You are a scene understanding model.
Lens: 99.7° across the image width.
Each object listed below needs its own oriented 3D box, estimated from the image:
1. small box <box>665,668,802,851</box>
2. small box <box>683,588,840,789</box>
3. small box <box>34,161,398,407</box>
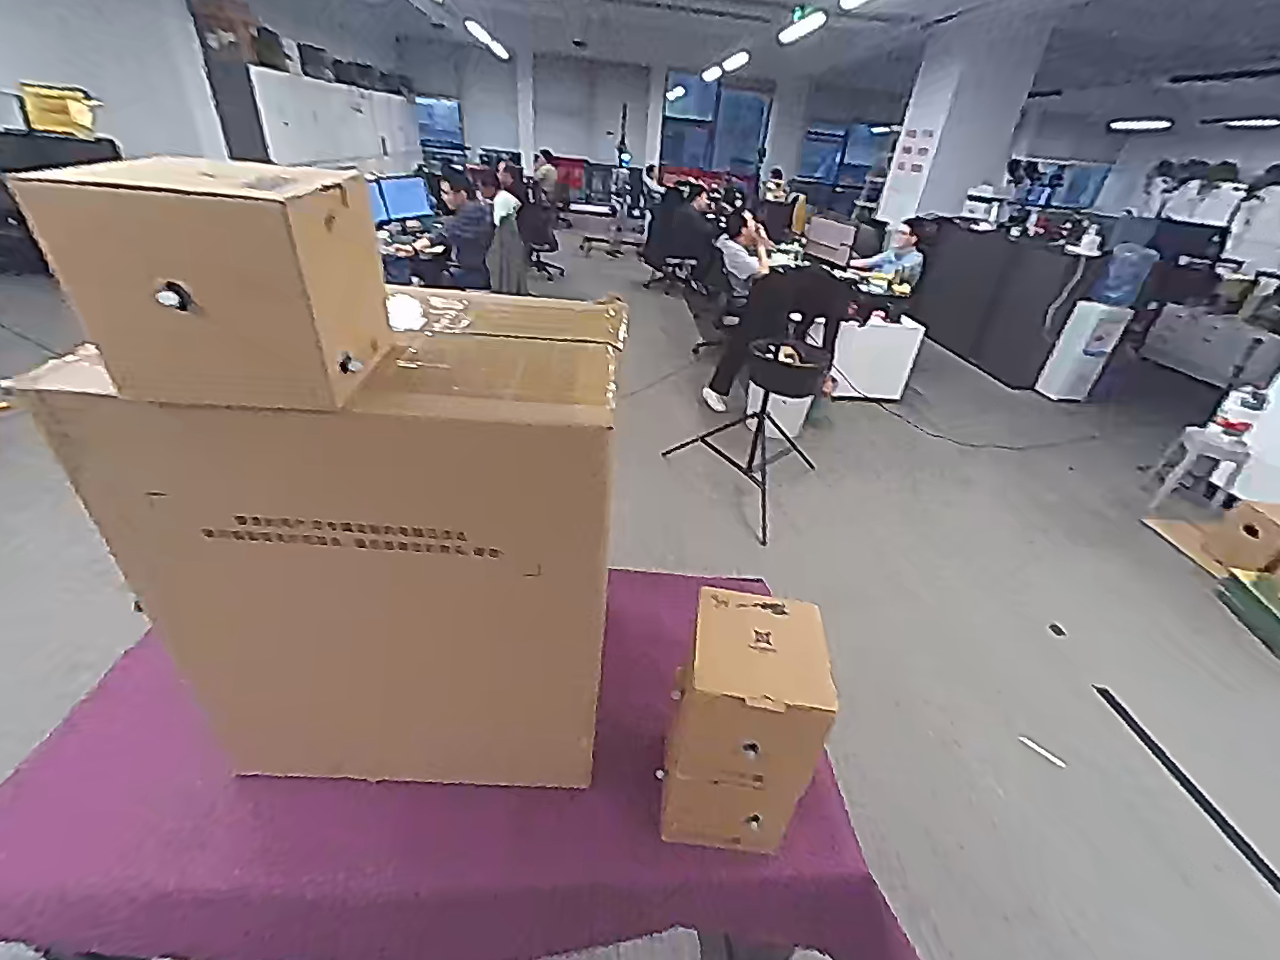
[{"bbox_3d":[0.129,0.413,0.801,0.168,0.176,0.179,7,30,1],"label":"small box"},{"bbox_3d":[0.150,0.274,0.717,0.168,0.176,0.179,8,32,5],"label":"small box"},{"bbox_3d":[-0.337,-0.175,0.484,0.179,0.176,0.168,1,34,-5],"label":"small box"}]
